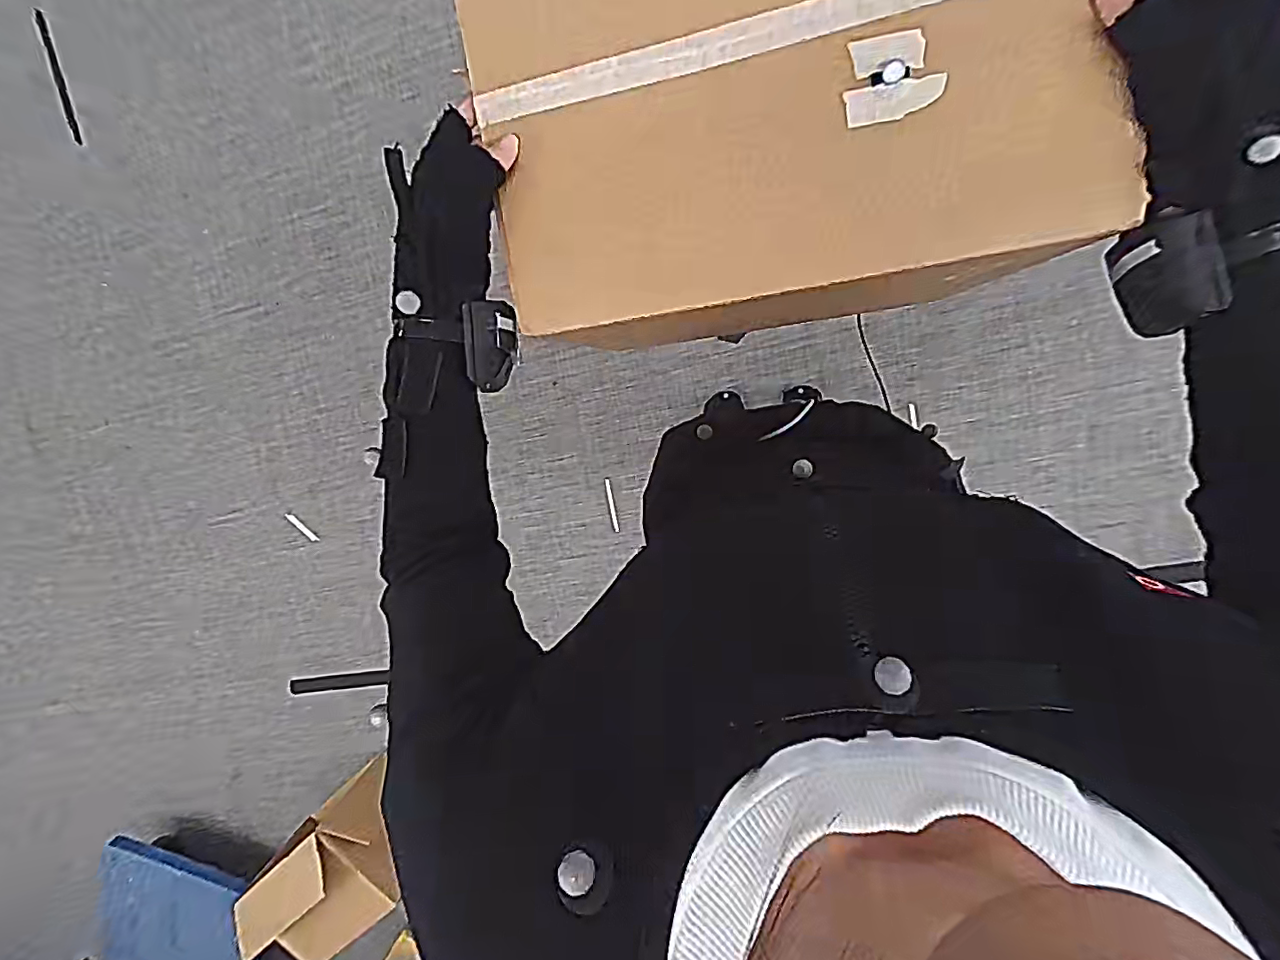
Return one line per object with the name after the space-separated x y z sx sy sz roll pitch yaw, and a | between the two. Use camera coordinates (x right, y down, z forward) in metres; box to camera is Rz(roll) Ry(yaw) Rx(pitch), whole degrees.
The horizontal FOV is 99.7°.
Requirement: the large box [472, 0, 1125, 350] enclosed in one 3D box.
0.110 -0.316 0.498 0.408 0.320 0.320 -7 100 11 | large box
